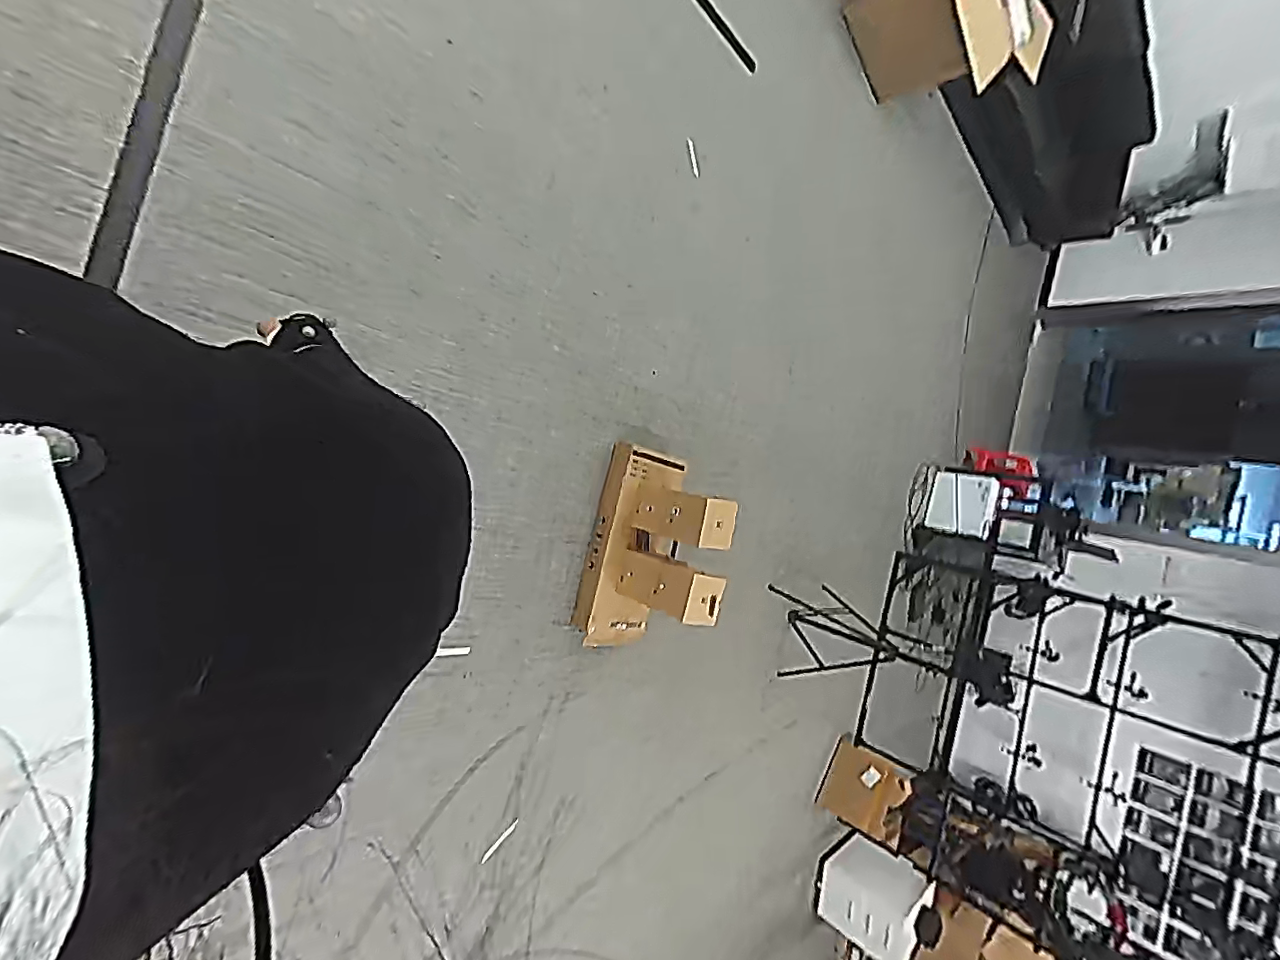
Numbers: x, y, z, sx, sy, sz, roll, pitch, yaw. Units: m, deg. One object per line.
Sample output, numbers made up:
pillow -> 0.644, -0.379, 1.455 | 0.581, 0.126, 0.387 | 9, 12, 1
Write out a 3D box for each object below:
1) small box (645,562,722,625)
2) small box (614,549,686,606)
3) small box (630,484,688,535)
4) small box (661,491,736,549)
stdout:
small box -> 0.147, 0.387, 1.848 | 0.179, 0.176, 0.168 | 19, 84, -44
small box -> 0.036, 0.353, 1.963 | 0.179, 0.176, 0.168 | 14, 89, -44
small box -> 0.089, 0.112, 1.965 | 0.179, 0.176, 0.168 | 12, 90, -44
small box -> 0.199, 0.136, 1.845 | 0.179, 0.176, 0.168 | 8, 92, -44
